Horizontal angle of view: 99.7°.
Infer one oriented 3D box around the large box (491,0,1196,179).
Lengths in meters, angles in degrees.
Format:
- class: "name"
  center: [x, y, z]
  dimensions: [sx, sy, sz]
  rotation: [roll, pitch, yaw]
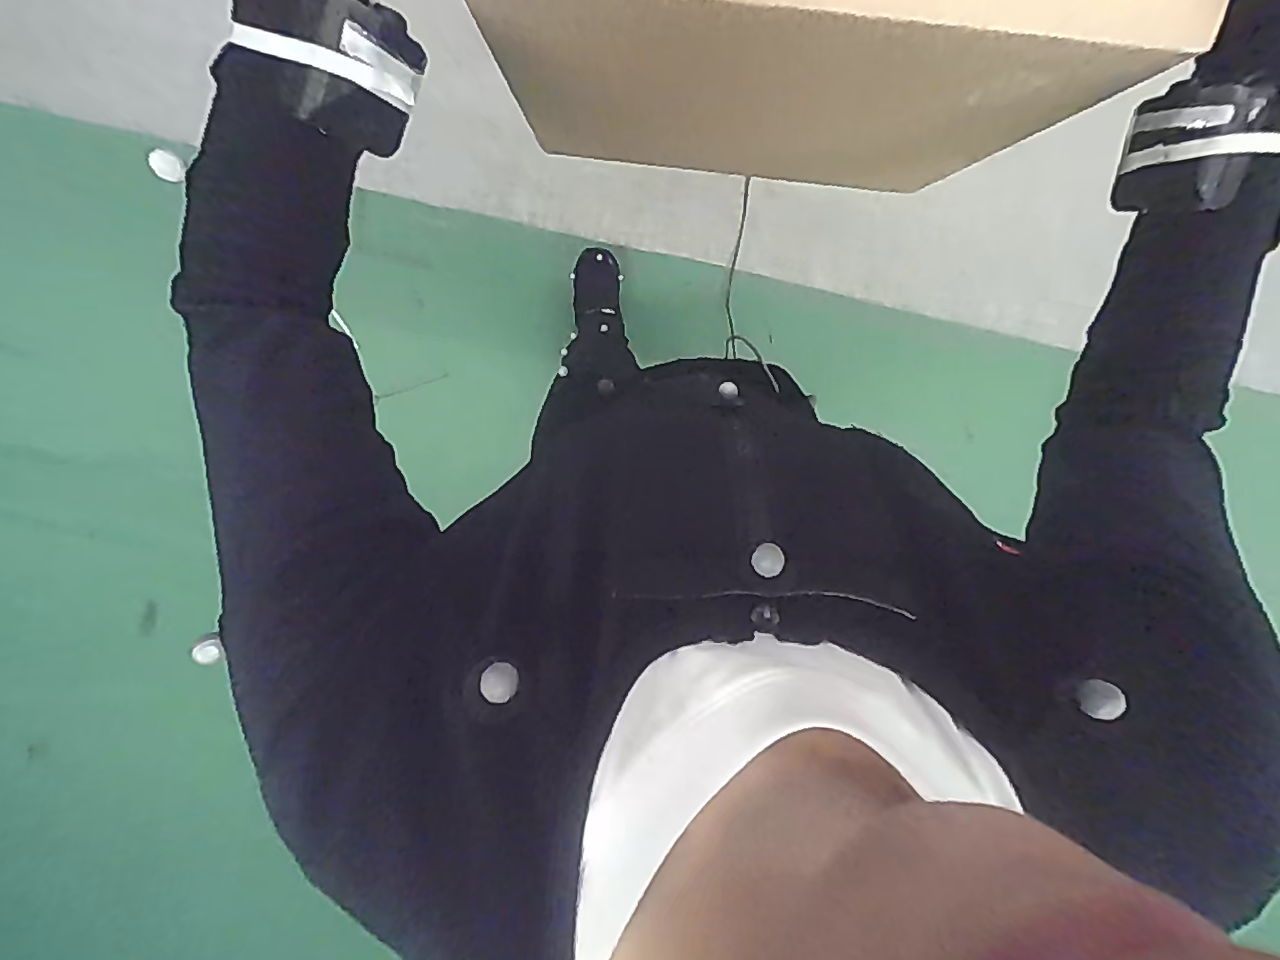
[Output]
- class: "large box"
  center: [0.112, -0.443, 0.396]
  dimensions: [0.408, 0.320, 0.320]
  rotation: [4, 106, -3]
